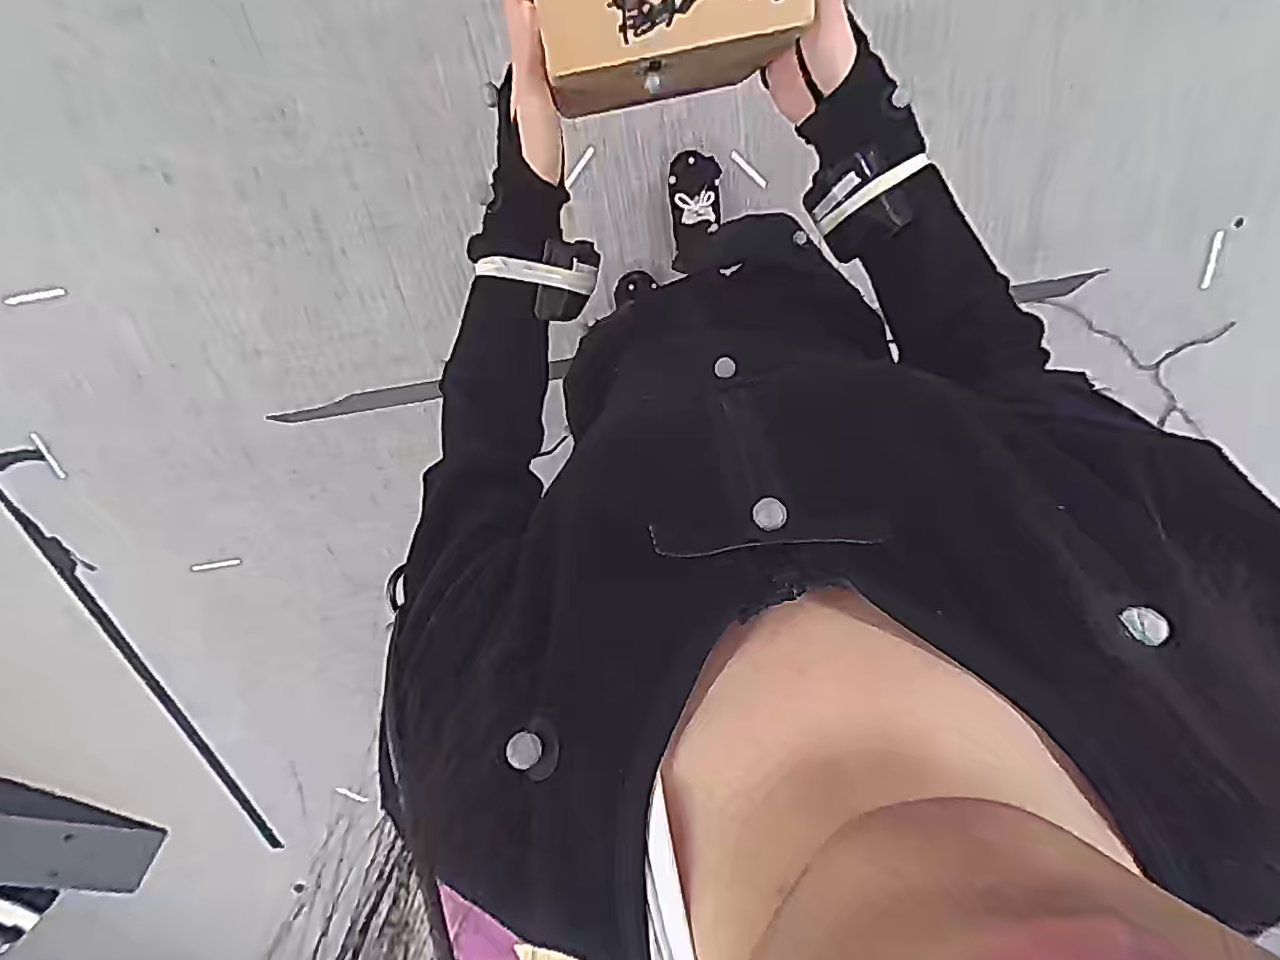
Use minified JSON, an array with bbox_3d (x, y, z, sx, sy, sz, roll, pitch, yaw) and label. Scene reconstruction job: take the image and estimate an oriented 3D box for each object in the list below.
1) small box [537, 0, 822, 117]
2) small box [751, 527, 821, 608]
[{"bbox_3d":[0.006,-0.369,0.357,0.168,0.176,0.179,-12,116,0],"label":"small box"},{"bbox_3d":[0.436,0.255,1.628,0.168,0.176,0.179,-9,116,2],"label":"small box"}]
